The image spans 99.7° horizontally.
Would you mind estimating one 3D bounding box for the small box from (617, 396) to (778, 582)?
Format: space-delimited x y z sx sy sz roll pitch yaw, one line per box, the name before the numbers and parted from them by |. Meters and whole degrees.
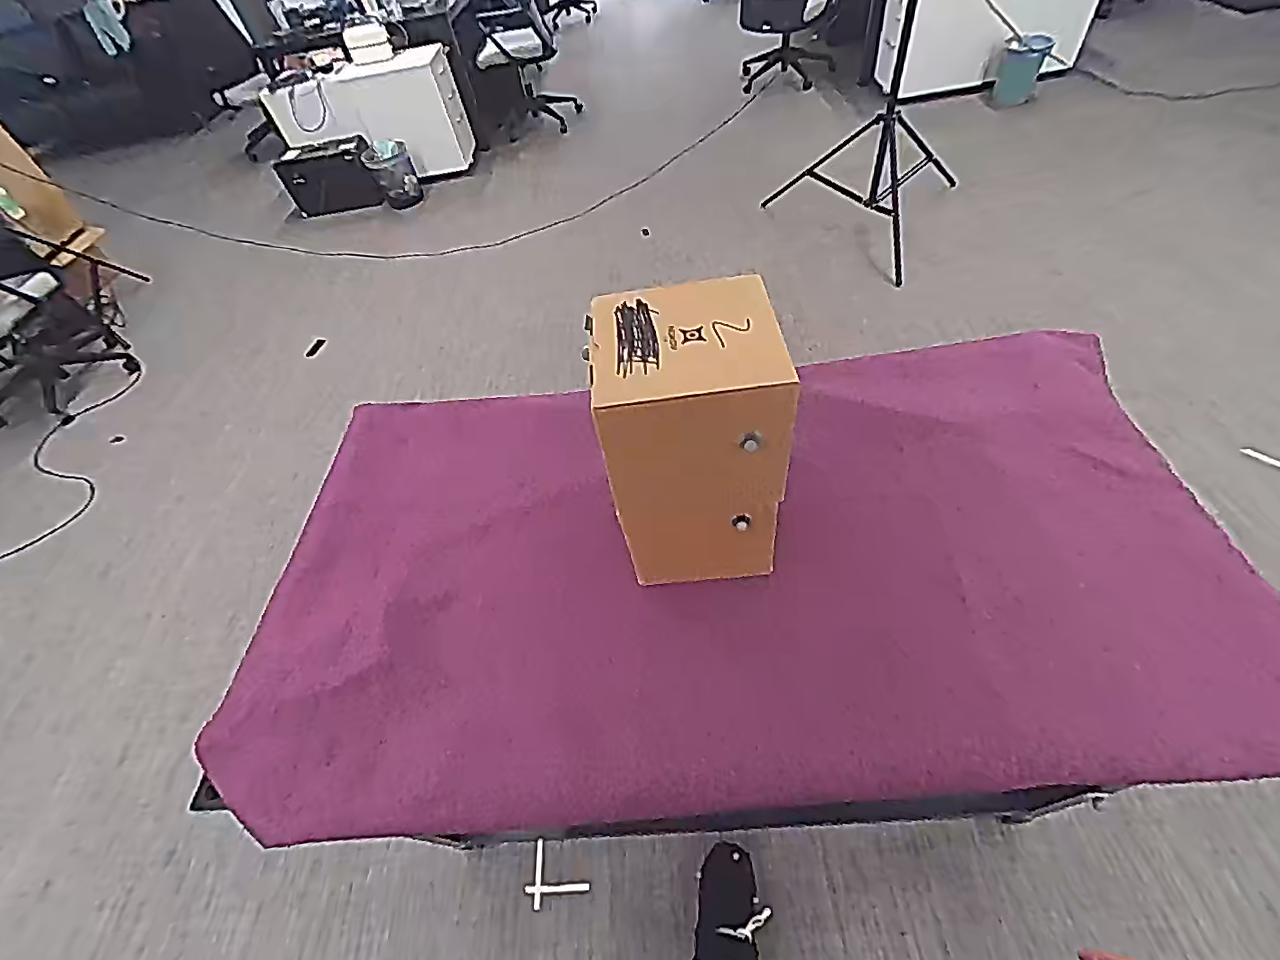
small box | 0.071 0.018 0.688 0.179 0.176 0.168 -6 51 4
